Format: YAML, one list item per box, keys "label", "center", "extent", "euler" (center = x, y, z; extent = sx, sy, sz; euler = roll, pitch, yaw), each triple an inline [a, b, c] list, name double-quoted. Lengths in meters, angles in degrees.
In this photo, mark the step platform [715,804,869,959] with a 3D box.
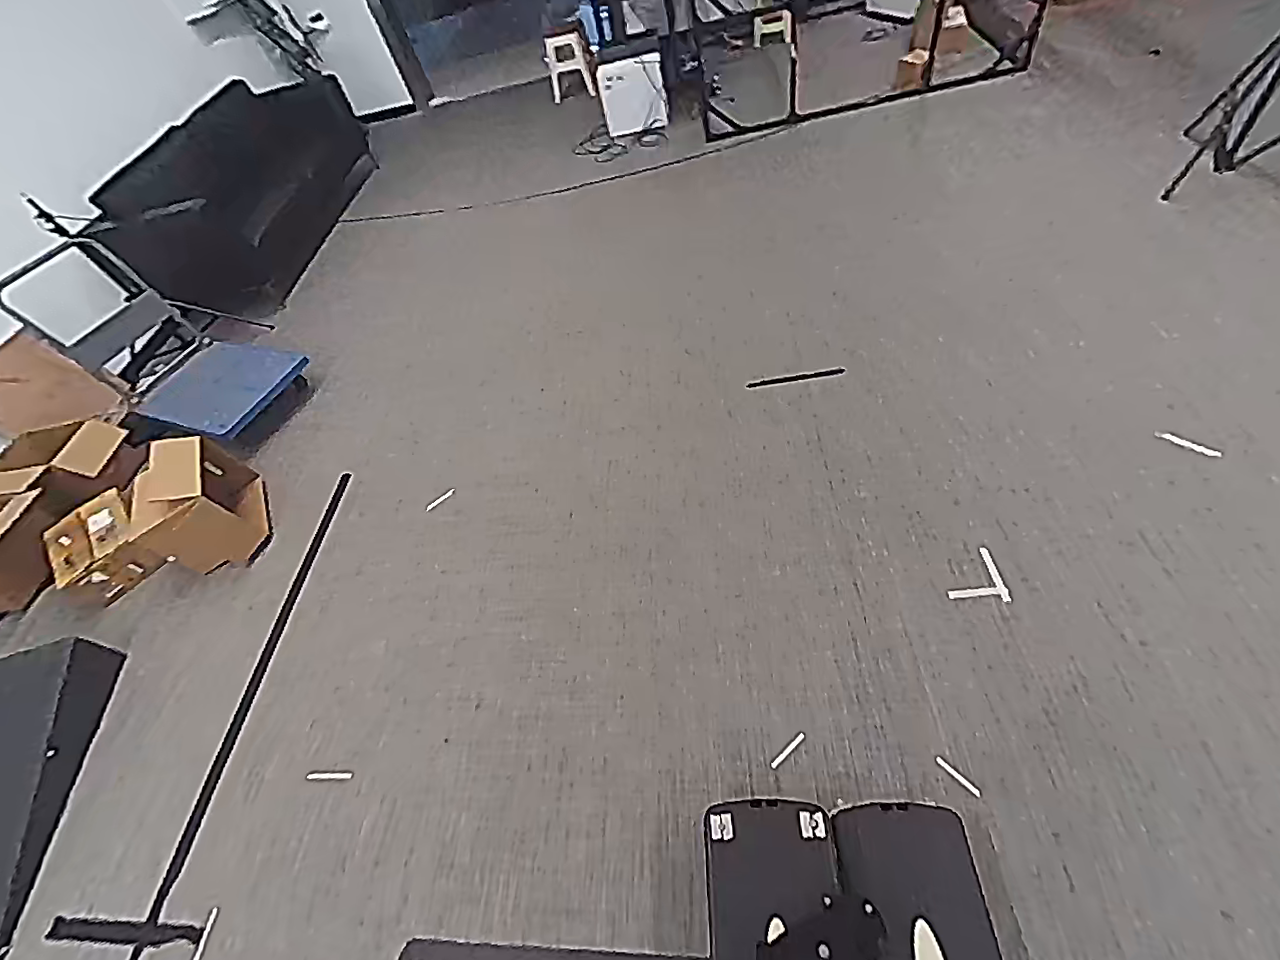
- label: "step platform"
  center: [0.316, 1.037, 1.068]
  extent: [0.286, 0.204, 0.684]
  euler: [-7, 51, 9]
